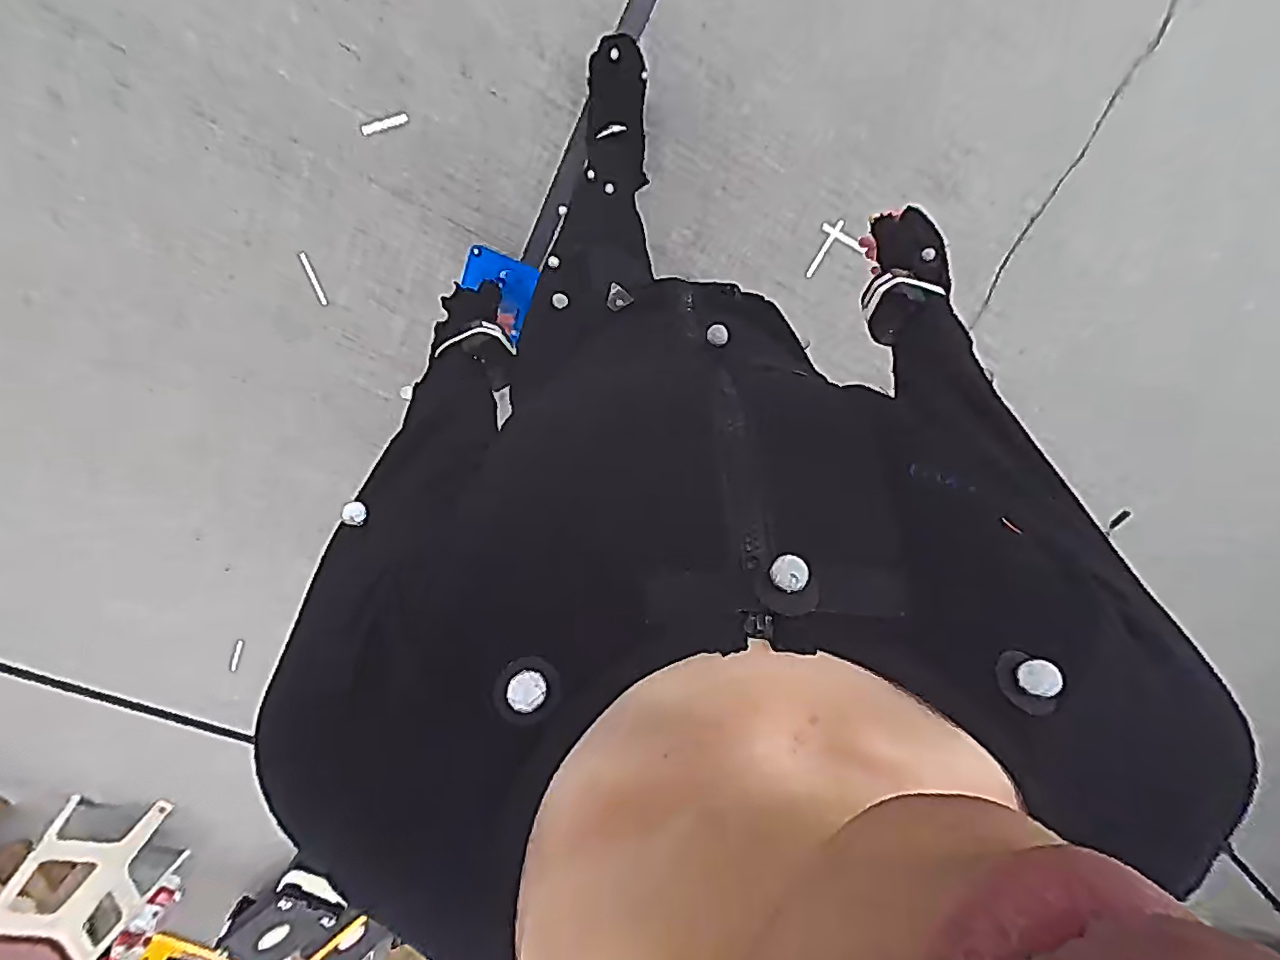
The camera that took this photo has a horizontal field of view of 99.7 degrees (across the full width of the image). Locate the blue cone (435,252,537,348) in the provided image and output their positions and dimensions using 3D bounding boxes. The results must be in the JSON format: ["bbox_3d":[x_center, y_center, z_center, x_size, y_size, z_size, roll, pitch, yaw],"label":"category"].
[{"bbox_3d":[-0.357,-0.365,1.177,0.192,0.380,0.193,22,113,-11],"label":"blue cone"}]
